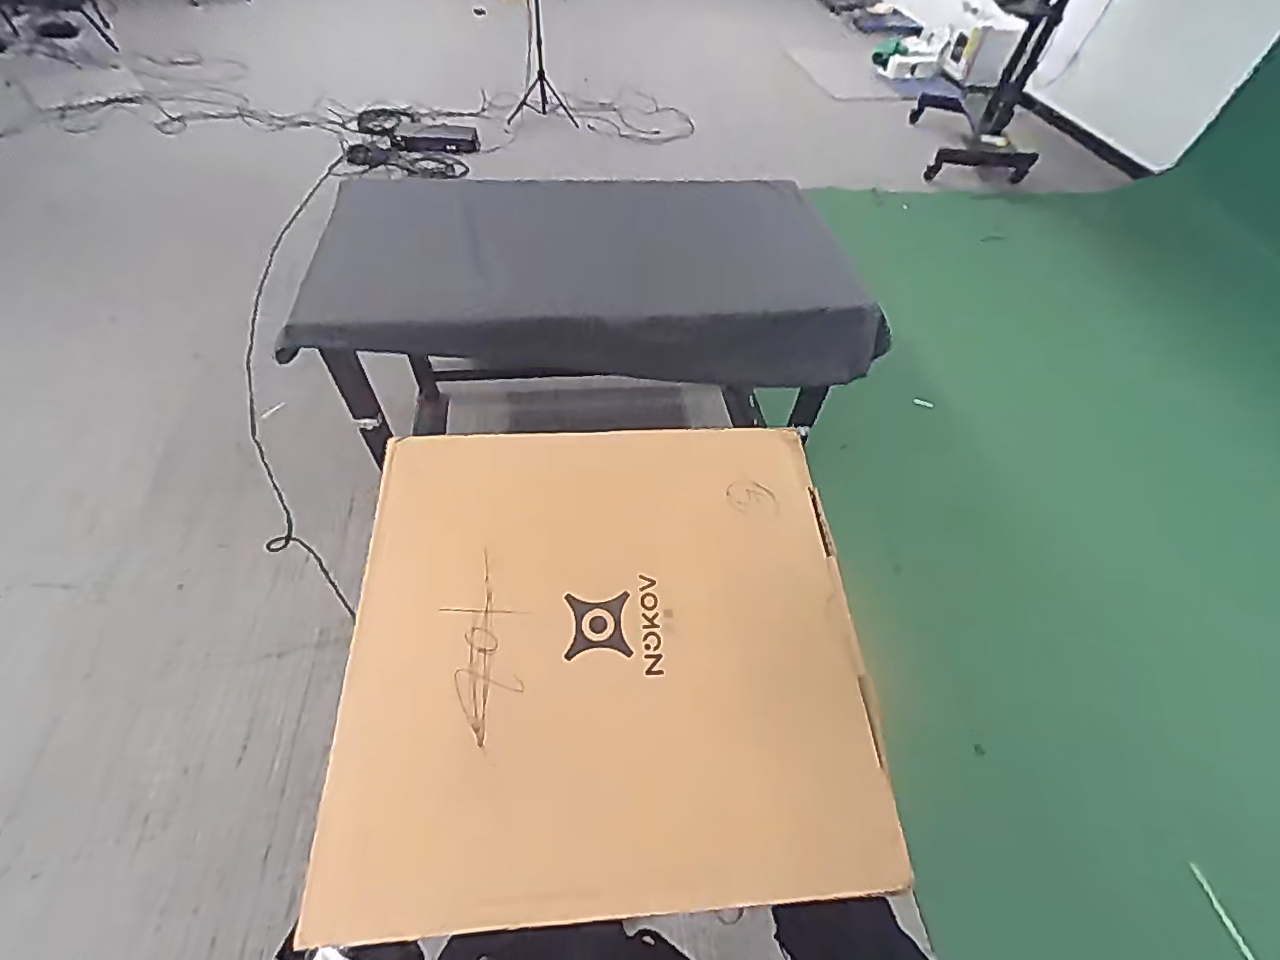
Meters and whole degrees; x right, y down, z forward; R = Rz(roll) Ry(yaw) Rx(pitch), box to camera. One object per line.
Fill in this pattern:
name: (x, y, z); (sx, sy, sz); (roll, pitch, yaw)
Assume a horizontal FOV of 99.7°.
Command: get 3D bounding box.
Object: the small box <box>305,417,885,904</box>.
small box: (-0.018, 0.086, 0.267); (0.179, 0.176, 0.168); (-3, 60, -4)
